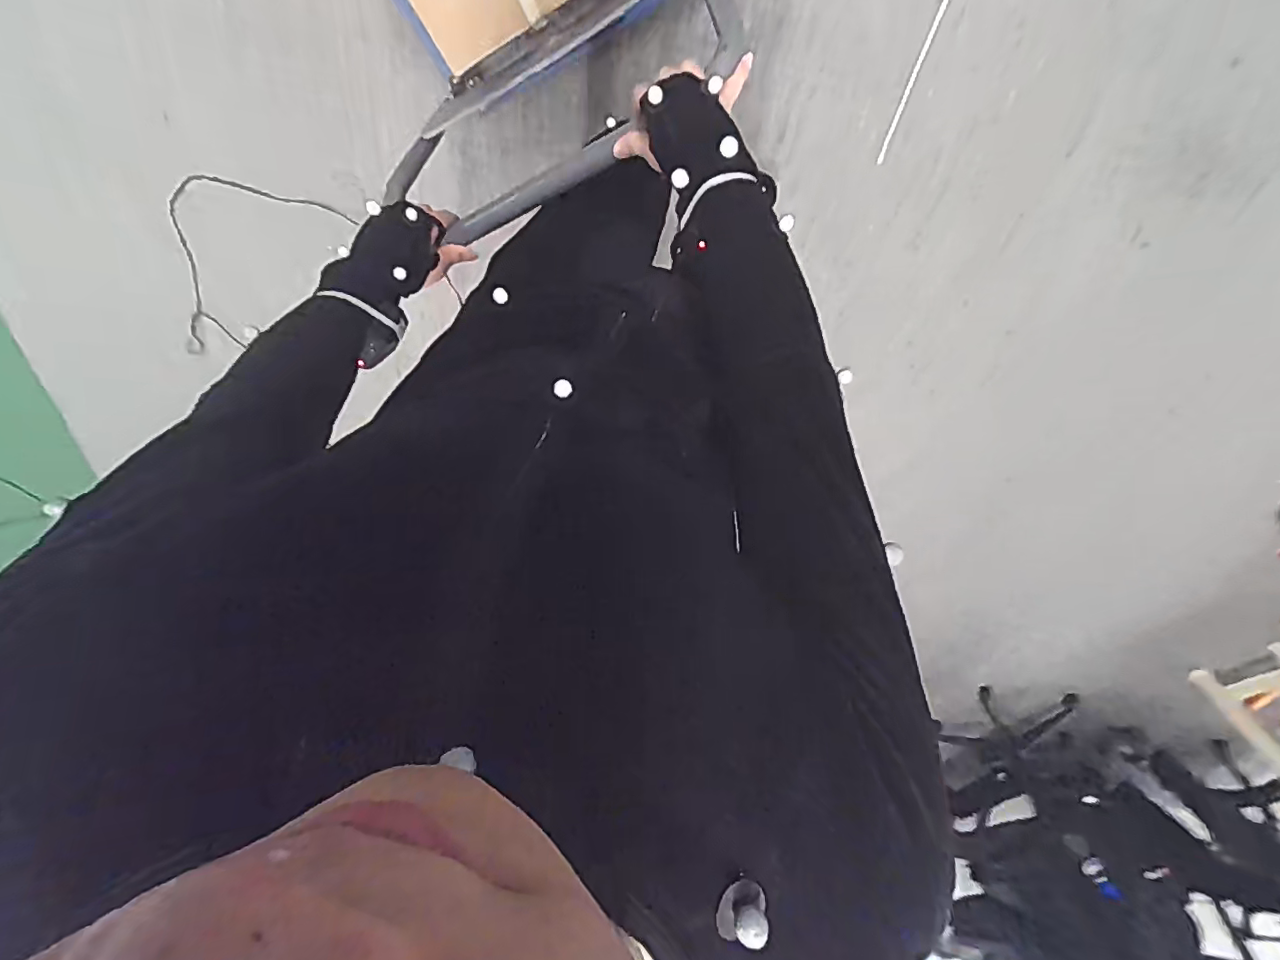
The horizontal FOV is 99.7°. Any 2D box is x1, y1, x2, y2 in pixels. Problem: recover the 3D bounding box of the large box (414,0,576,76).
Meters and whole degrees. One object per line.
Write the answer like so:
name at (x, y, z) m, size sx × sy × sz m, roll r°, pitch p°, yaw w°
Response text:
large box at (-0.224, -0.903, 0.770) m, size 0.320 × 0.320 × 0.408 m, roll -17°, pitch 133°, yaw 21°
